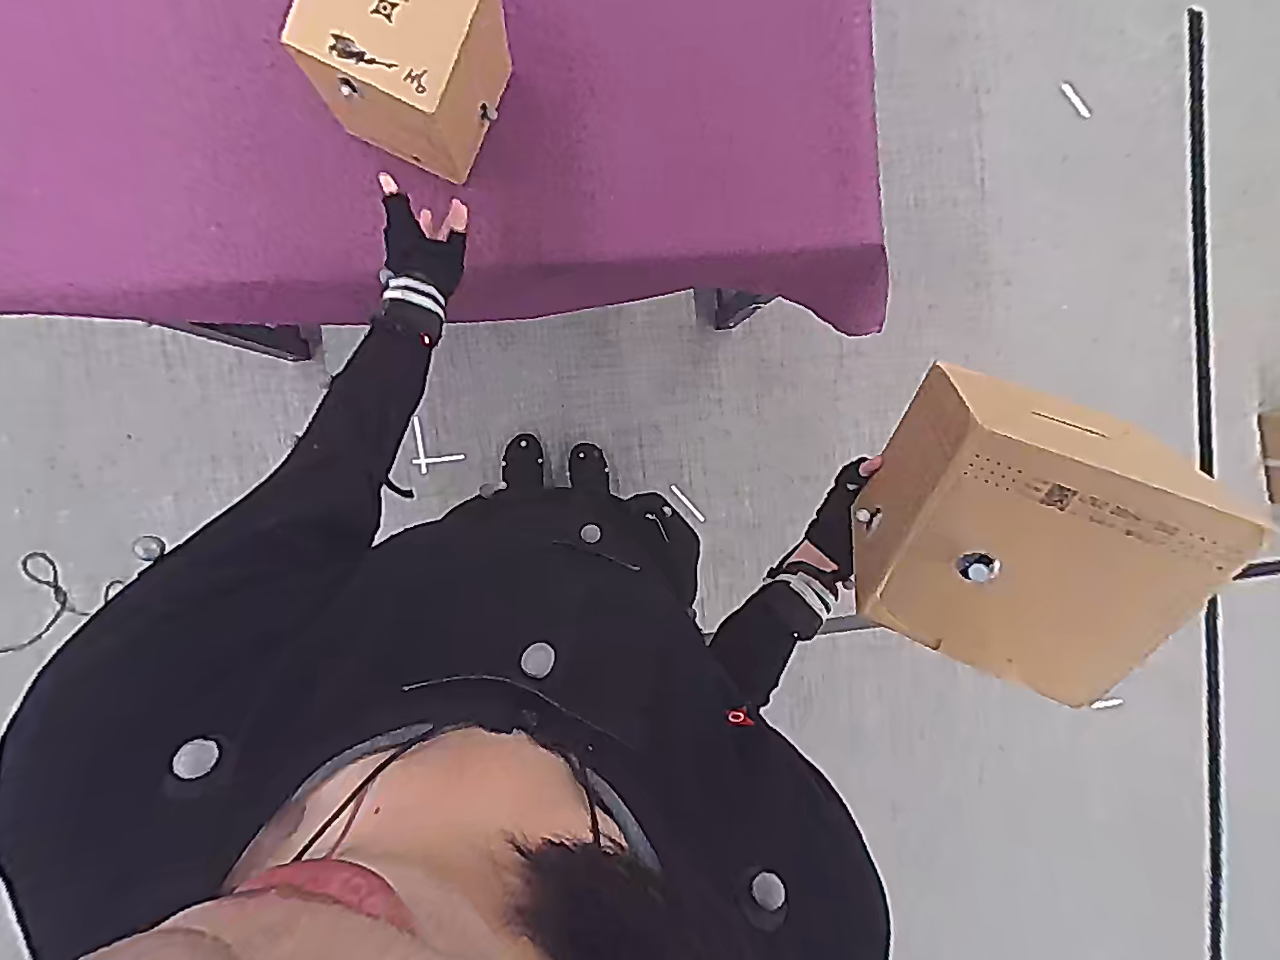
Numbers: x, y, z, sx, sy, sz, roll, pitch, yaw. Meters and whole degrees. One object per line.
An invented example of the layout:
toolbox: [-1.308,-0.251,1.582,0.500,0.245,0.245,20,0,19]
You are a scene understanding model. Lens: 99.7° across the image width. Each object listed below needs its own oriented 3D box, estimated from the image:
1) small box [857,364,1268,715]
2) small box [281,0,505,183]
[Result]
small box: [0.283,0.028,0.407,0.168,0.179,0.176,23,121,8]
small box: [-0.269,-0.501,0.637,0.168,0.176,0.179,23,90,-8]
